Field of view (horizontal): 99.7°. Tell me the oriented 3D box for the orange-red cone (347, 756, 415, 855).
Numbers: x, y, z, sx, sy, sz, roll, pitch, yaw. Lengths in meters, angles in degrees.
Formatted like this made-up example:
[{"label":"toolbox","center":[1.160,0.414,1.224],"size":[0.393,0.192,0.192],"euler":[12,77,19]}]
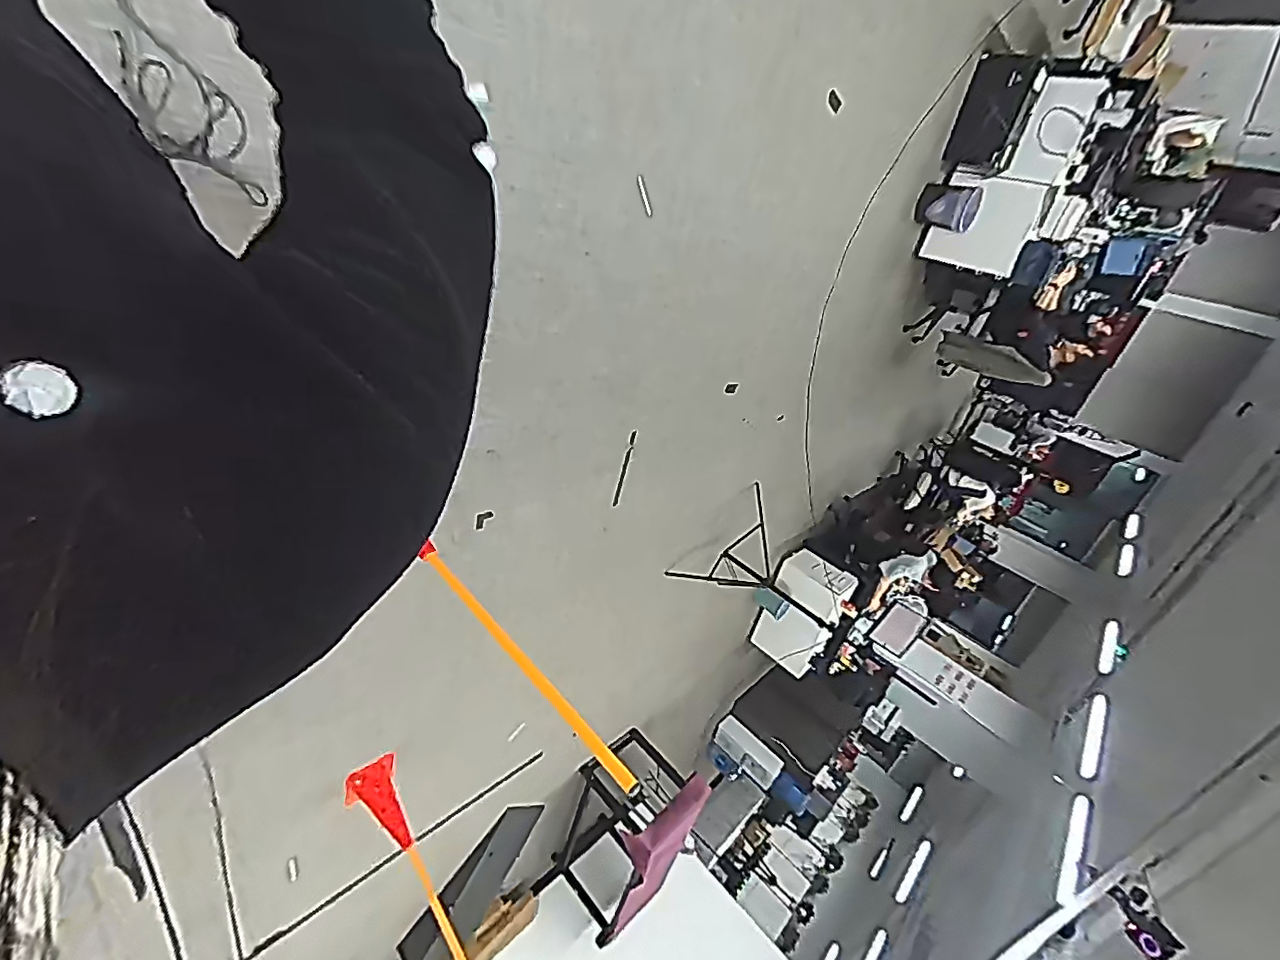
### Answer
[{"label":"orange-red cone","center":[-1.000,1.337,2.163],"size":[0.198,0.360,0.199],"euler":[-12,128,-47]}]
